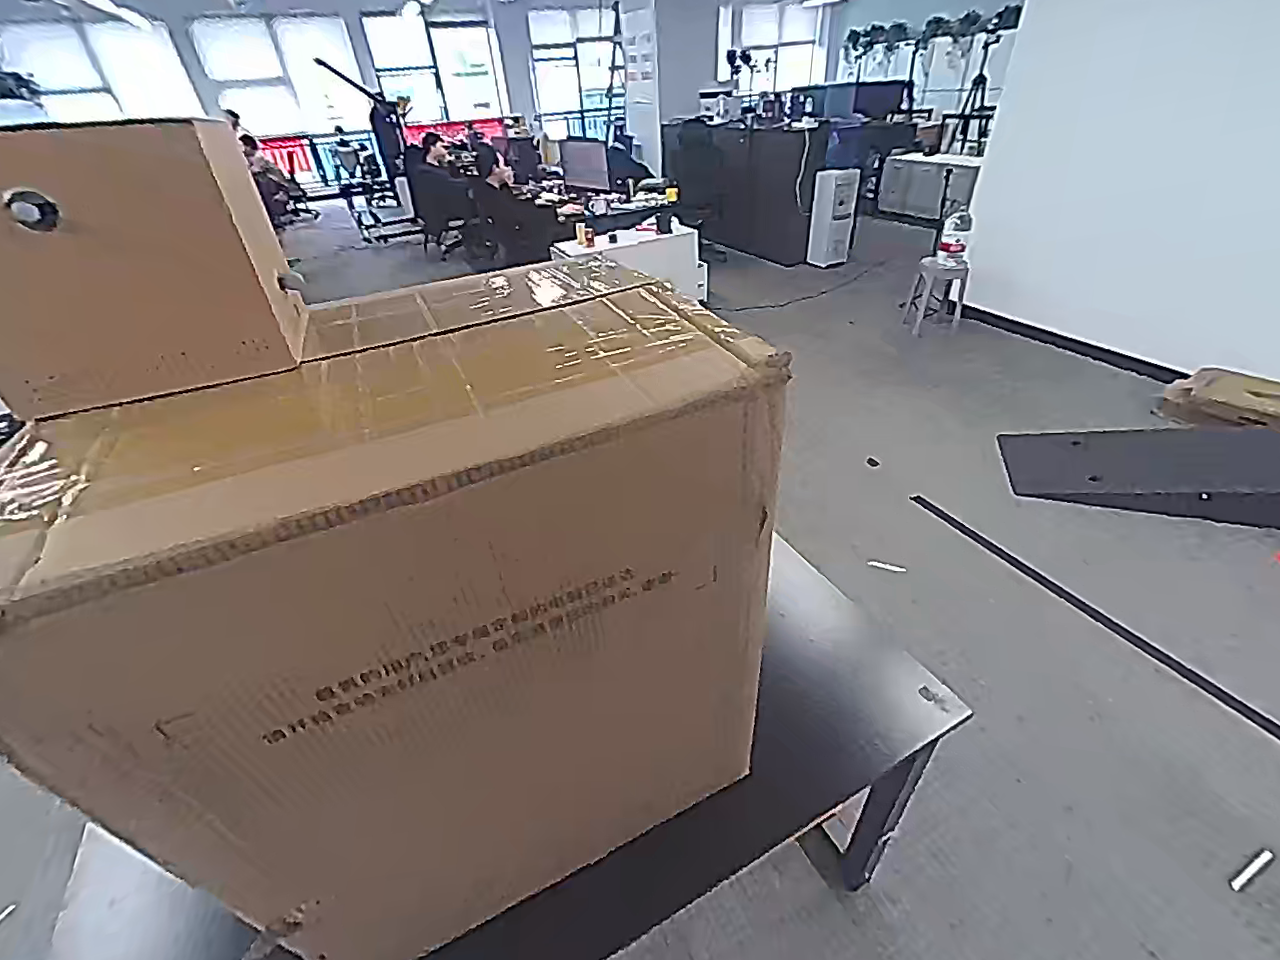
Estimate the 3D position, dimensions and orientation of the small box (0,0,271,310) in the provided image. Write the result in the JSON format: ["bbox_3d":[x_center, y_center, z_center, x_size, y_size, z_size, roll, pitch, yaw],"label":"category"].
[{"bbox_3d":[-0.367,-0.211,0.331,0.179,0.176,0.168,-17,36,-19],"label":"small box"}]
